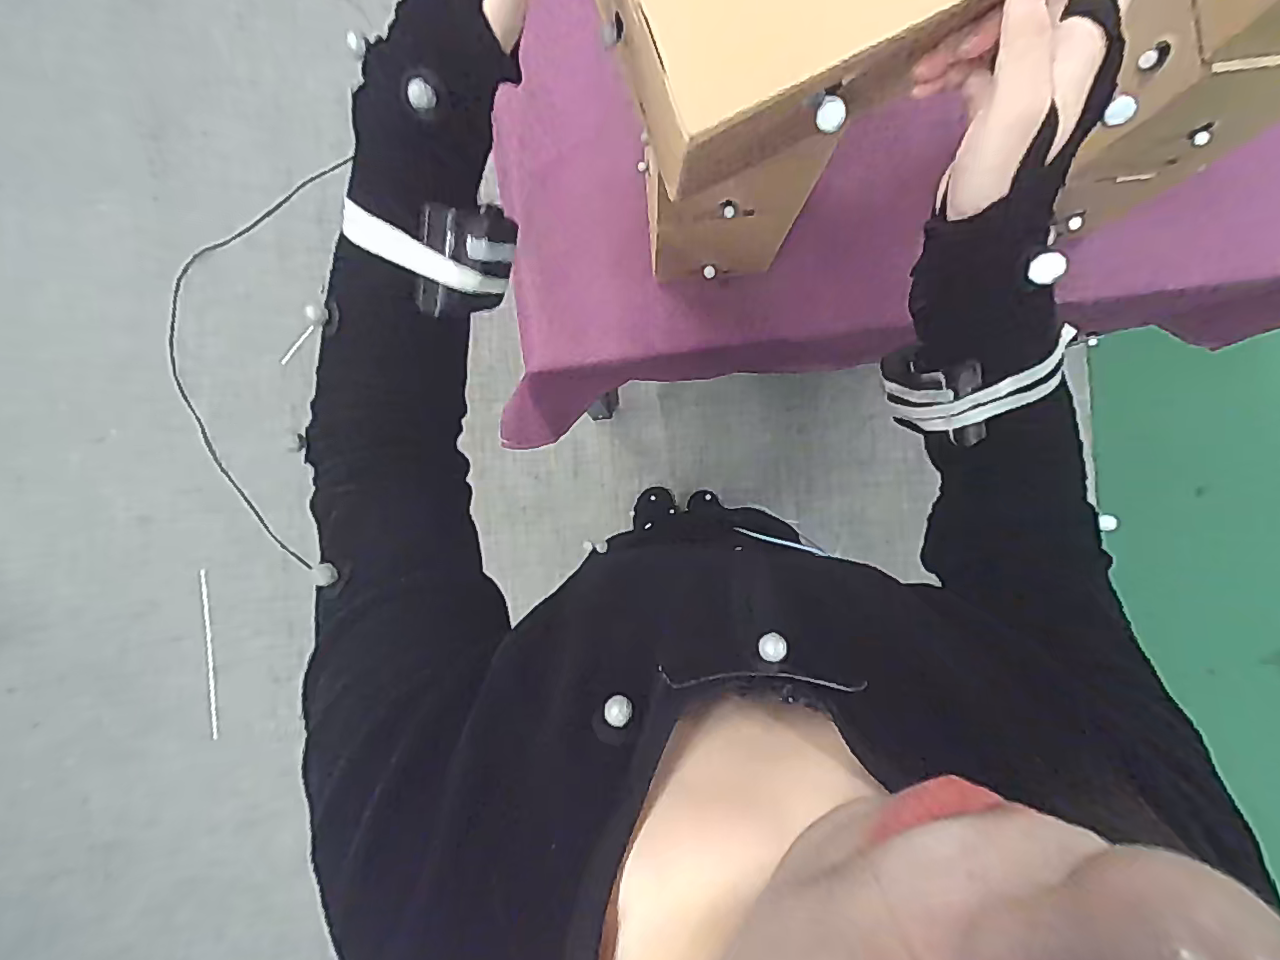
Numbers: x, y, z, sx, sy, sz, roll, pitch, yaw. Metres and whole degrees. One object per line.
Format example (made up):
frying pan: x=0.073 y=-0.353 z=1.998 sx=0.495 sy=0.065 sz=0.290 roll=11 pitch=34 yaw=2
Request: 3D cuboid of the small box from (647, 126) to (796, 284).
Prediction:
small box: x=0.096 y=-0.379 z=0.711 sx=0.168 sy=0.176 sz=0.179 roll=-4 pitch=90 yaw=1

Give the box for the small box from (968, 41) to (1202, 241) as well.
small box: x=0.560 y=-0.430 z=0.704 sx=0.168 sy=0.176 sz=0.179 roll=-6 pitch=90 yaw=1

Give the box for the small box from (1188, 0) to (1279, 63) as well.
small box: x=0.545 y=-0.439 z=0.375 sx=0.179 sy=0.176 sz=0.168 roll=-6 pitch=88 yaw=2

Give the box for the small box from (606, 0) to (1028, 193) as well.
small box: x=0.075 y=-0.287 z=0.298 sx=0.179 sy=0.176 sz=0.168 roll=-21 pitch=107 yaw=10

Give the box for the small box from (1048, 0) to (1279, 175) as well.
small box: x=0.553 y=-0.432 z=0.538 sx=0.168 sy=0.176 sz=0.179 roll=-6 pitch=89 yaw=1
